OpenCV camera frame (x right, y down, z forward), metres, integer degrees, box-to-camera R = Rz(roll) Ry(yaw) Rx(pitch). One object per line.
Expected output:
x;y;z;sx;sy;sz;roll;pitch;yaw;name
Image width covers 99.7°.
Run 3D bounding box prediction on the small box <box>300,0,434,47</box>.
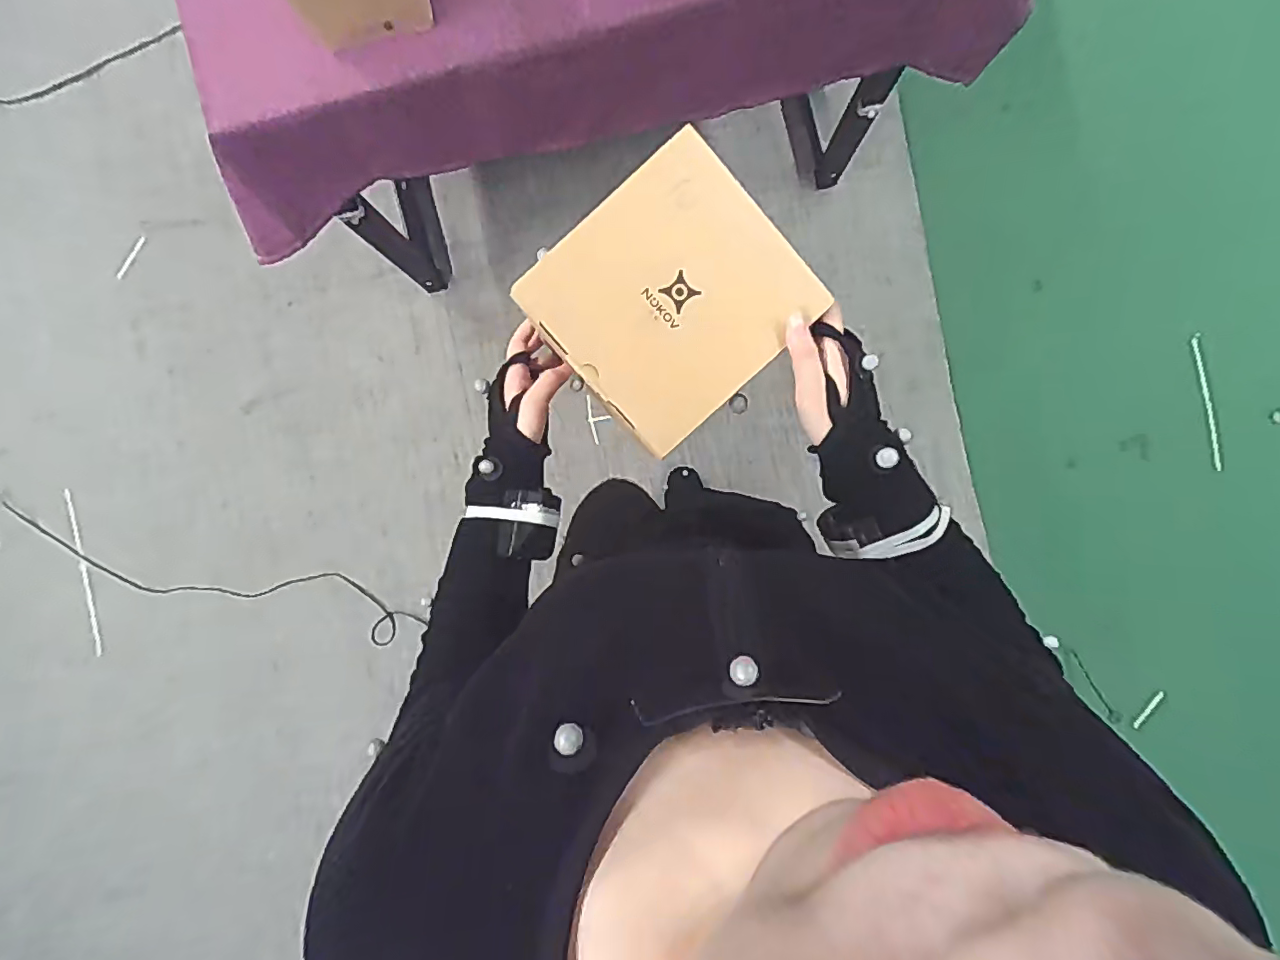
-0.393;-0.729;0.708;0.168;0.176;0.179;-11;89;2;small box
